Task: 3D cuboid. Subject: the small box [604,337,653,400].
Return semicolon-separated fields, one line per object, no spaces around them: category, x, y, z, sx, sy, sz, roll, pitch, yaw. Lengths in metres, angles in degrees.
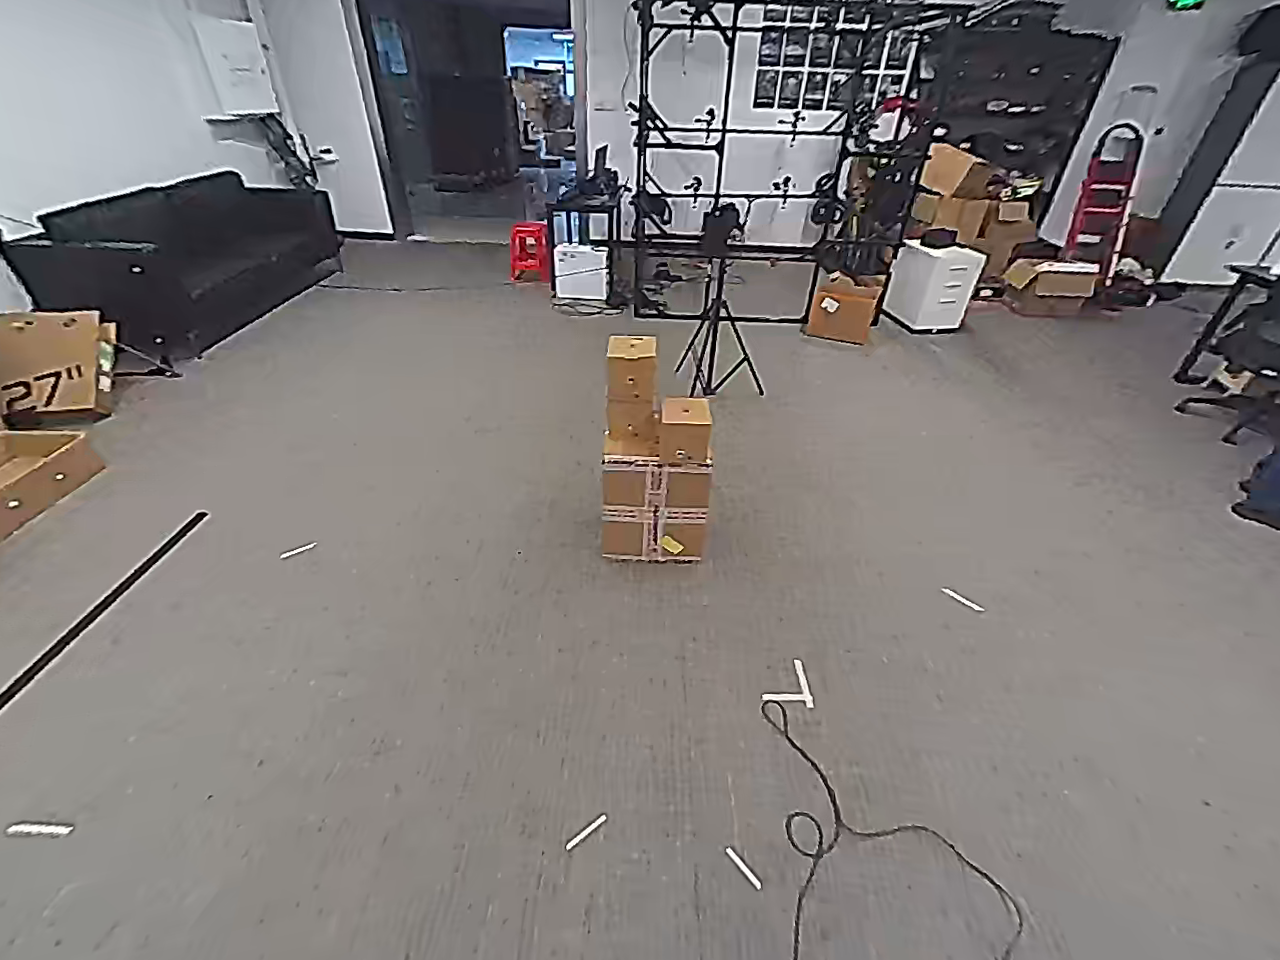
small box;-0.036;-0.393;1.915;0.168;0.176;0.179;1;38;1

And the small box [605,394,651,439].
small box;-0.042;-0.268;2.023;0.168;0.176;0.179;-1;38;0
